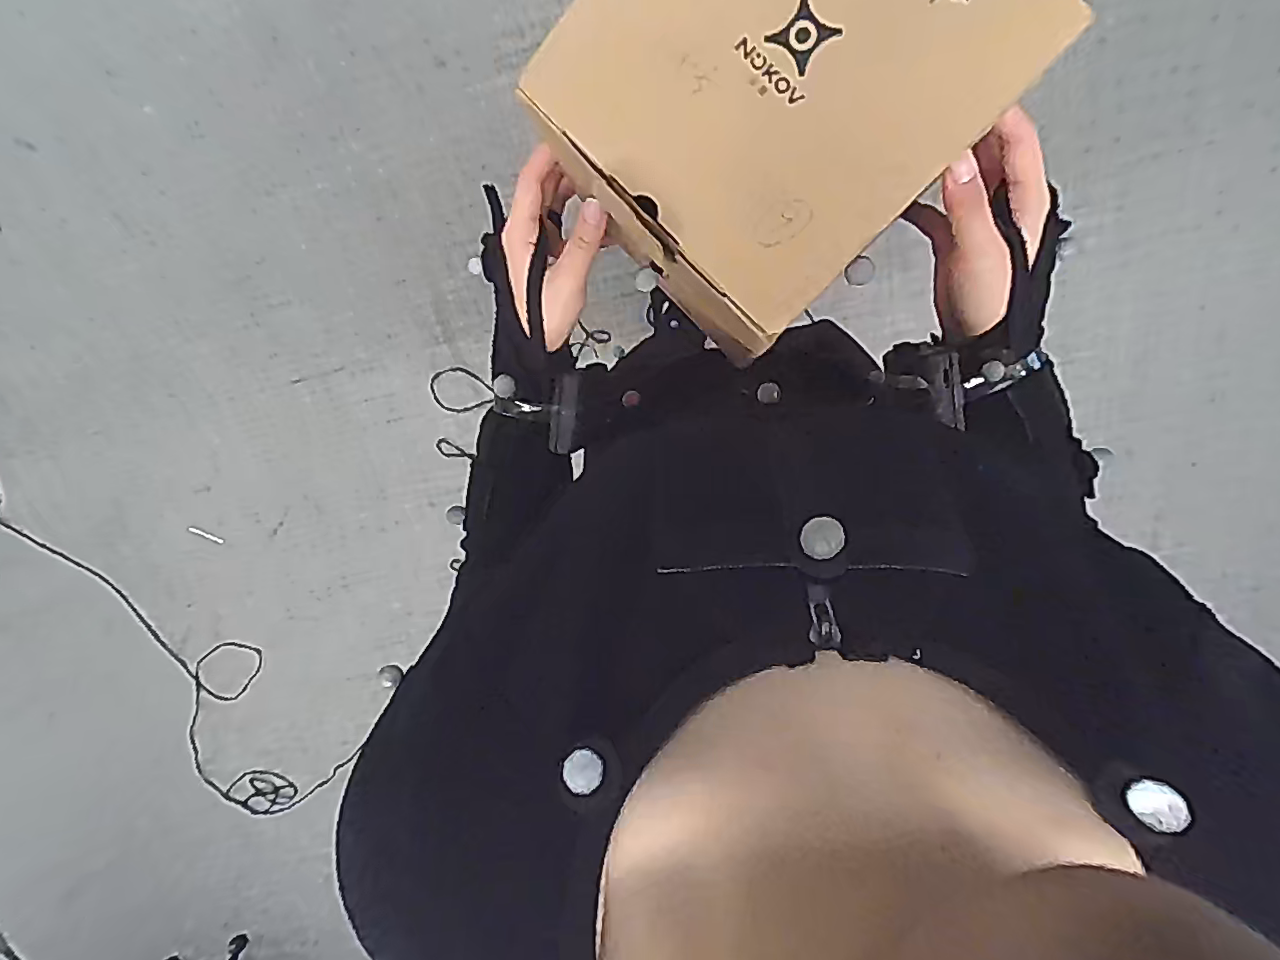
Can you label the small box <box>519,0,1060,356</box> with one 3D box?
[{"bbox_3d":[0.069,-0.192,0.315,0.168,0.176,0.179,45,101,0],"label":"small box"}]
